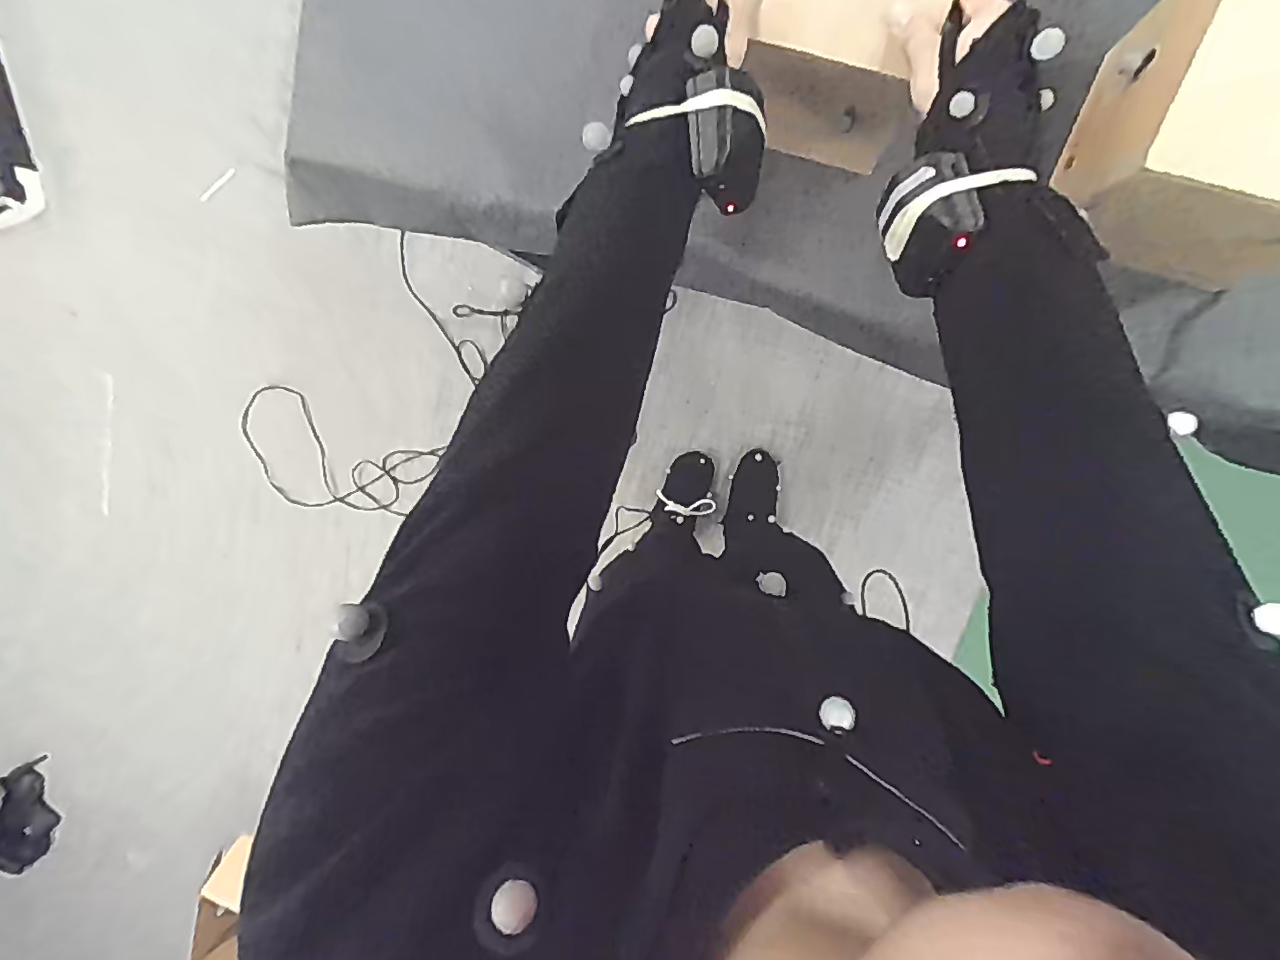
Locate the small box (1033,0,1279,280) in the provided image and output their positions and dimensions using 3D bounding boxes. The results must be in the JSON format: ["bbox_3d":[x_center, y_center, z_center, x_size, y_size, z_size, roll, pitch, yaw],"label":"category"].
[{"bbox_3d":[0.453,-0.268,0.410,0.179,0.176,0.168,20,102,7],"label":"small box"}]
